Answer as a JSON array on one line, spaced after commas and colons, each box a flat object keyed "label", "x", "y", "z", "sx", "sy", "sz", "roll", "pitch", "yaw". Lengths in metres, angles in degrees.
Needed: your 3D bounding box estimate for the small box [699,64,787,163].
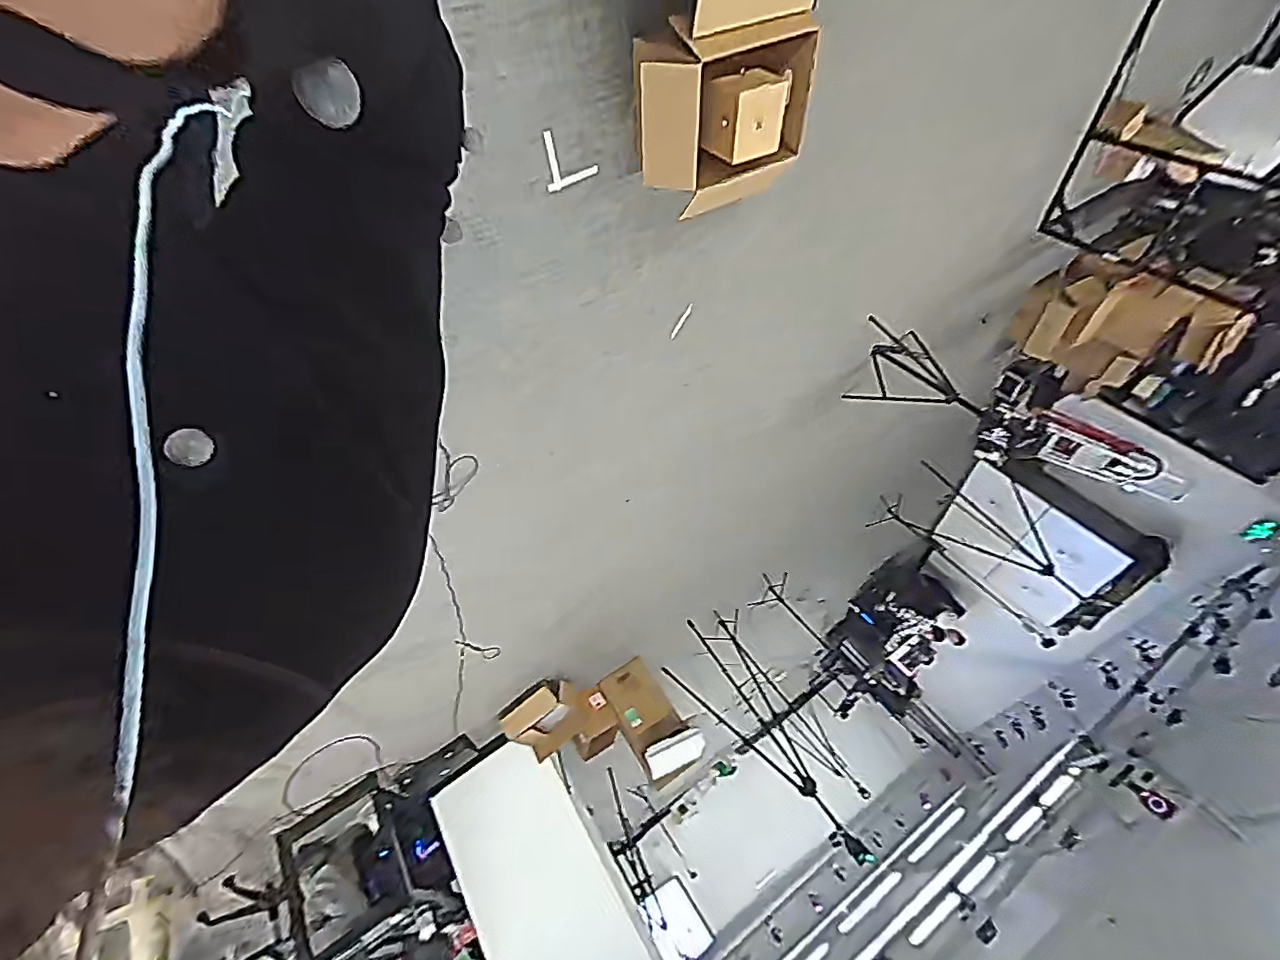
[{"label": "small box", "x": 0.279, "y": -1.022, "z": 1.507, "sx": 0.168, "sy": 0.176, "sz": 0.179, "roll": -27, "pitch": 144, "yaw": -17}]
